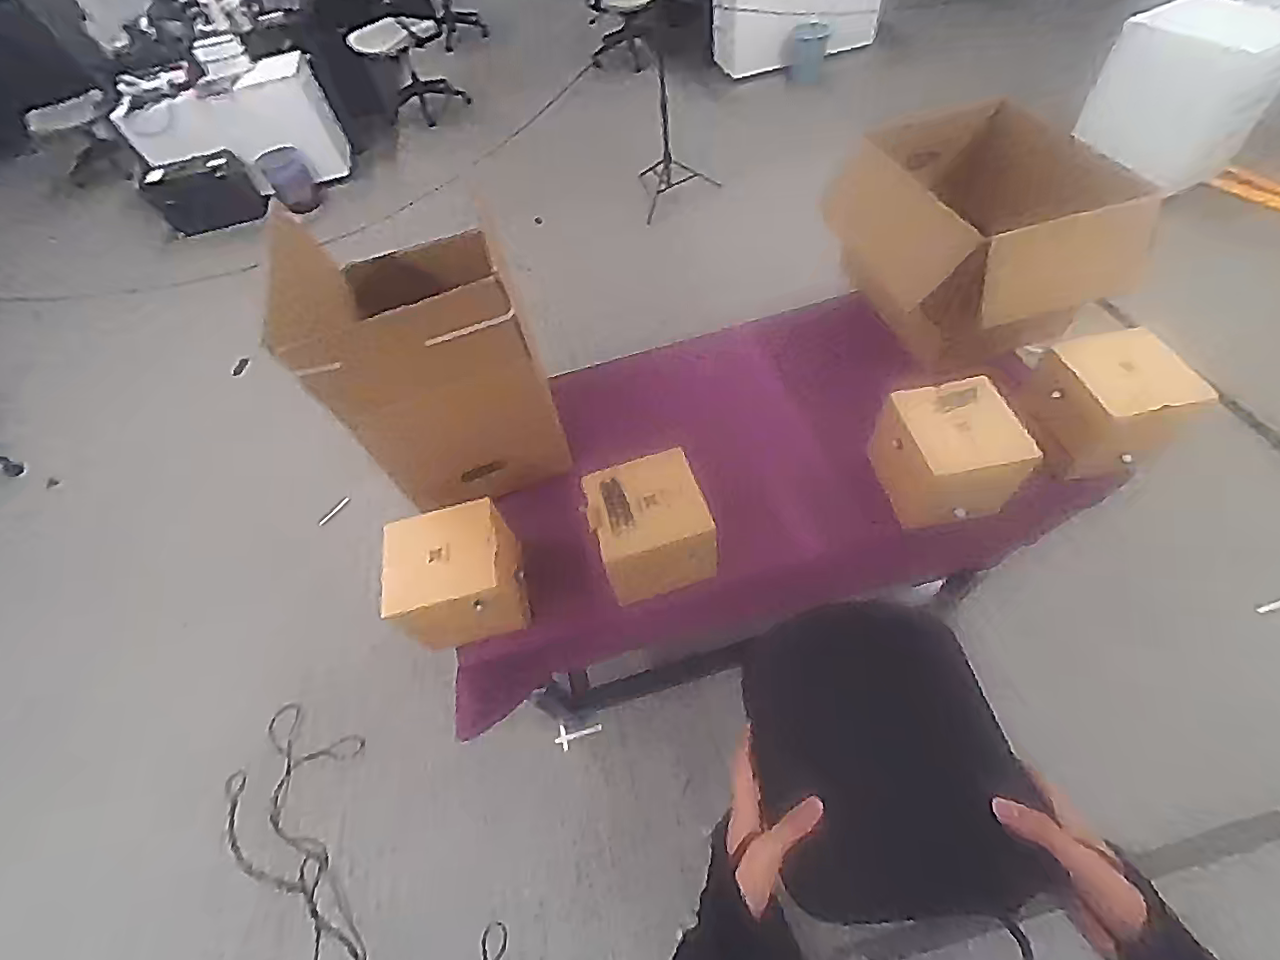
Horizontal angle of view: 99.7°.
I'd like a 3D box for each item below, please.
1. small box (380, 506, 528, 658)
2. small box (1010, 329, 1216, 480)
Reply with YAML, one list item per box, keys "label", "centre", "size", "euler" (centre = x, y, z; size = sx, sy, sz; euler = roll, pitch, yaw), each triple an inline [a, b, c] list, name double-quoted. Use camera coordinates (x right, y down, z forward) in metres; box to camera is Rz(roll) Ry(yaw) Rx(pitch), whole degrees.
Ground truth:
- label: "small box"
  centre: [-0.299, 0.174, 0.890]
  size: [0.179, 0.176, 0.168]
  euler: [-15, 54, -4]
- label: "small box"
  centre: [0.786, -0.126, 0.928]
  size: [0.168, 0.176, 0.179]
  euler: [-12, 54, 2]
